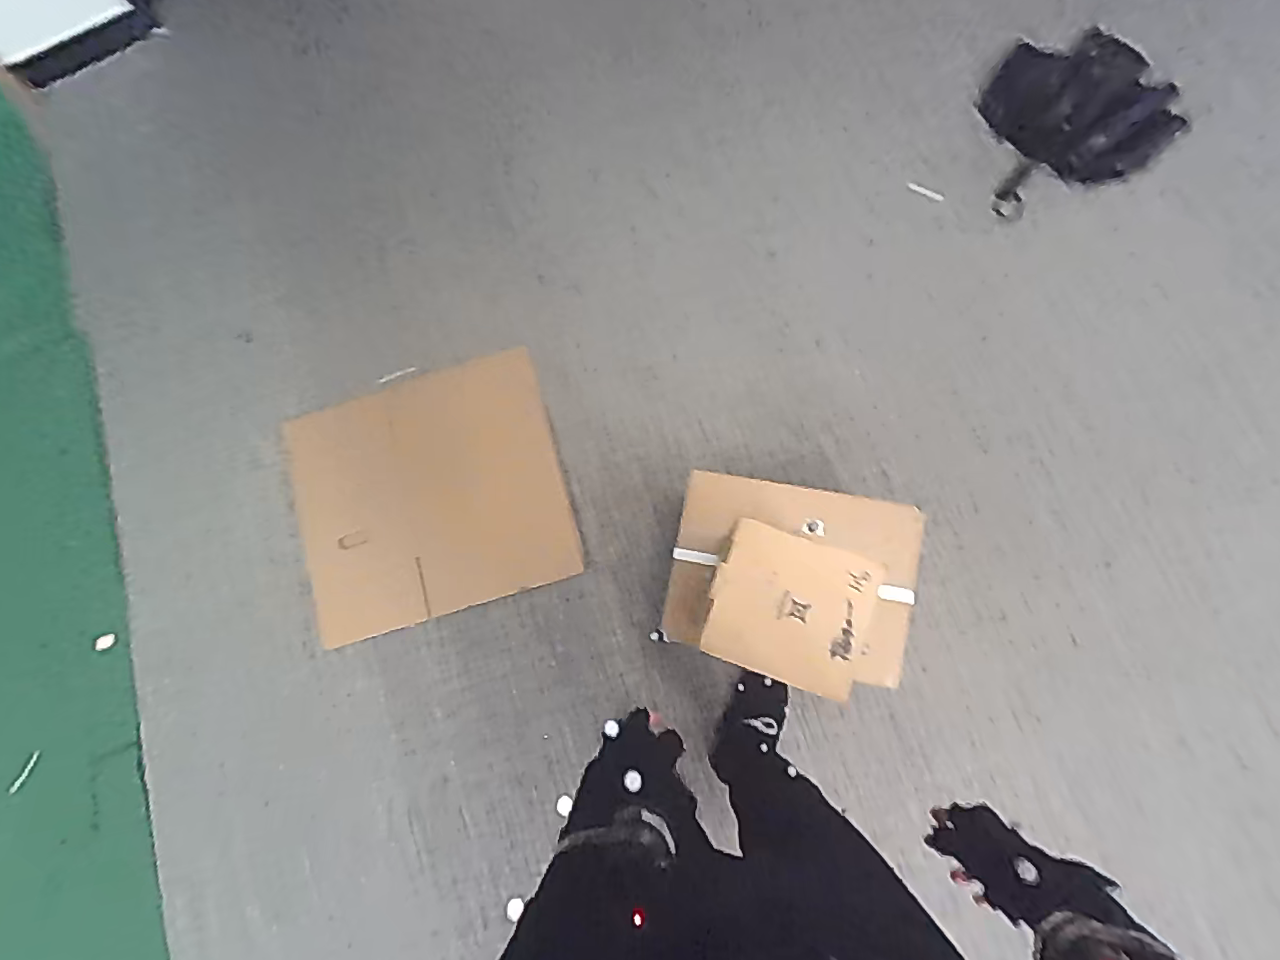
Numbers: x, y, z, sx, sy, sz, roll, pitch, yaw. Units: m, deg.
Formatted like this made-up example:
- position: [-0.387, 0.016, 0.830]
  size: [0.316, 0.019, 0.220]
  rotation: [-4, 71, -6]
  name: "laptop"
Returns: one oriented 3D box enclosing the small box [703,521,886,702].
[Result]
- position: [0.188, 0.164, 0.701]
  size: [0.179, 0.176, 0.168]
  rotation: [15, 82, 10]
  name: "small box"
